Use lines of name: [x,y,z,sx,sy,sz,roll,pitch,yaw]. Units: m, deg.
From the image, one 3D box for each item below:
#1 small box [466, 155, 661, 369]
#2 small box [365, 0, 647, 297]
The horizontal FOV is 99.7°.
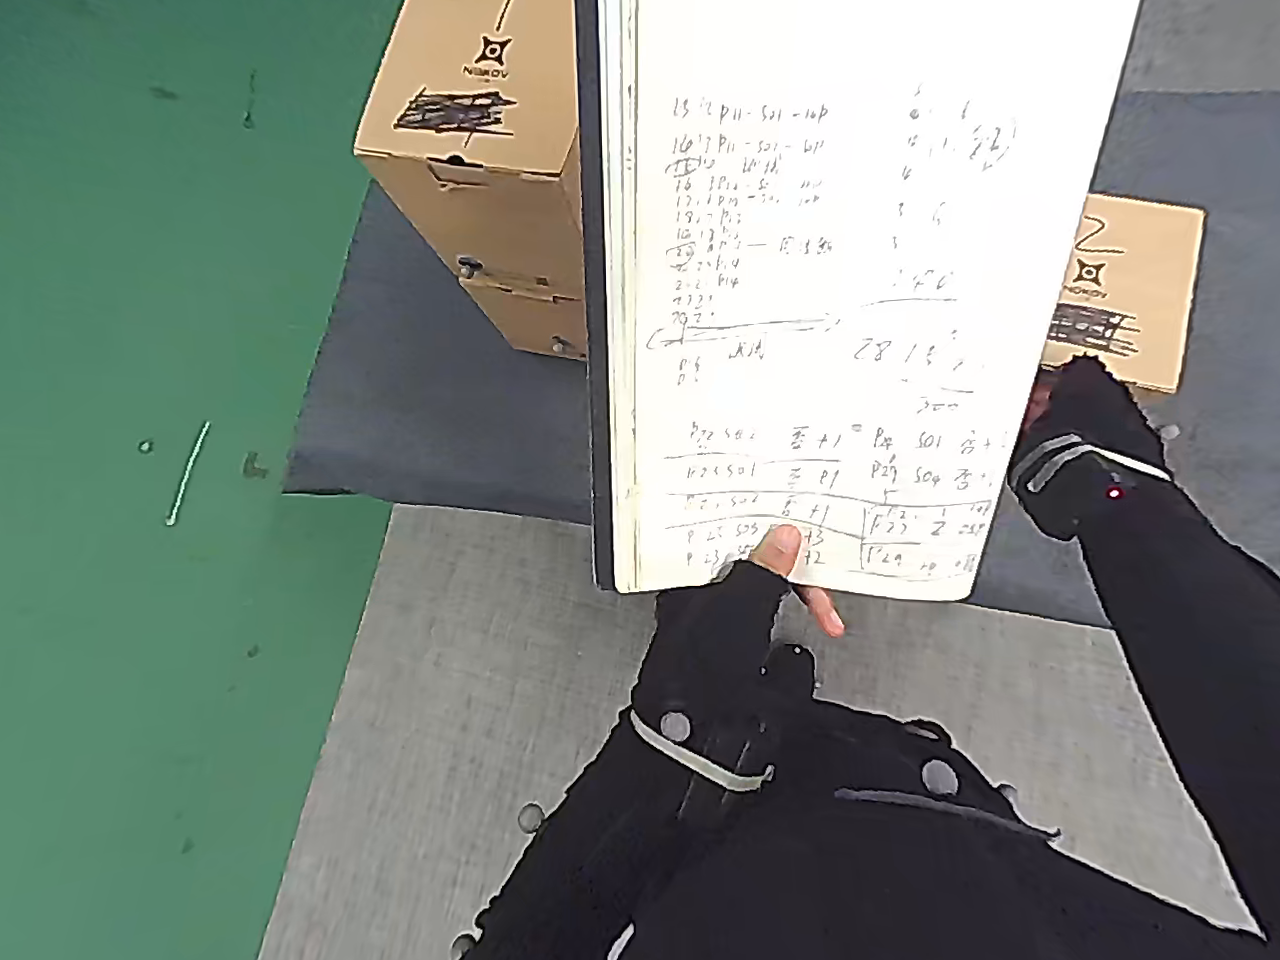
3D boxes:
small box: [-0.073,-0.253,0.635,0.168,0.176,0.179,11,81,10]
small box: [-0.096,-0.288,0.476,0.168,0.176,0.179,13,80,9]
